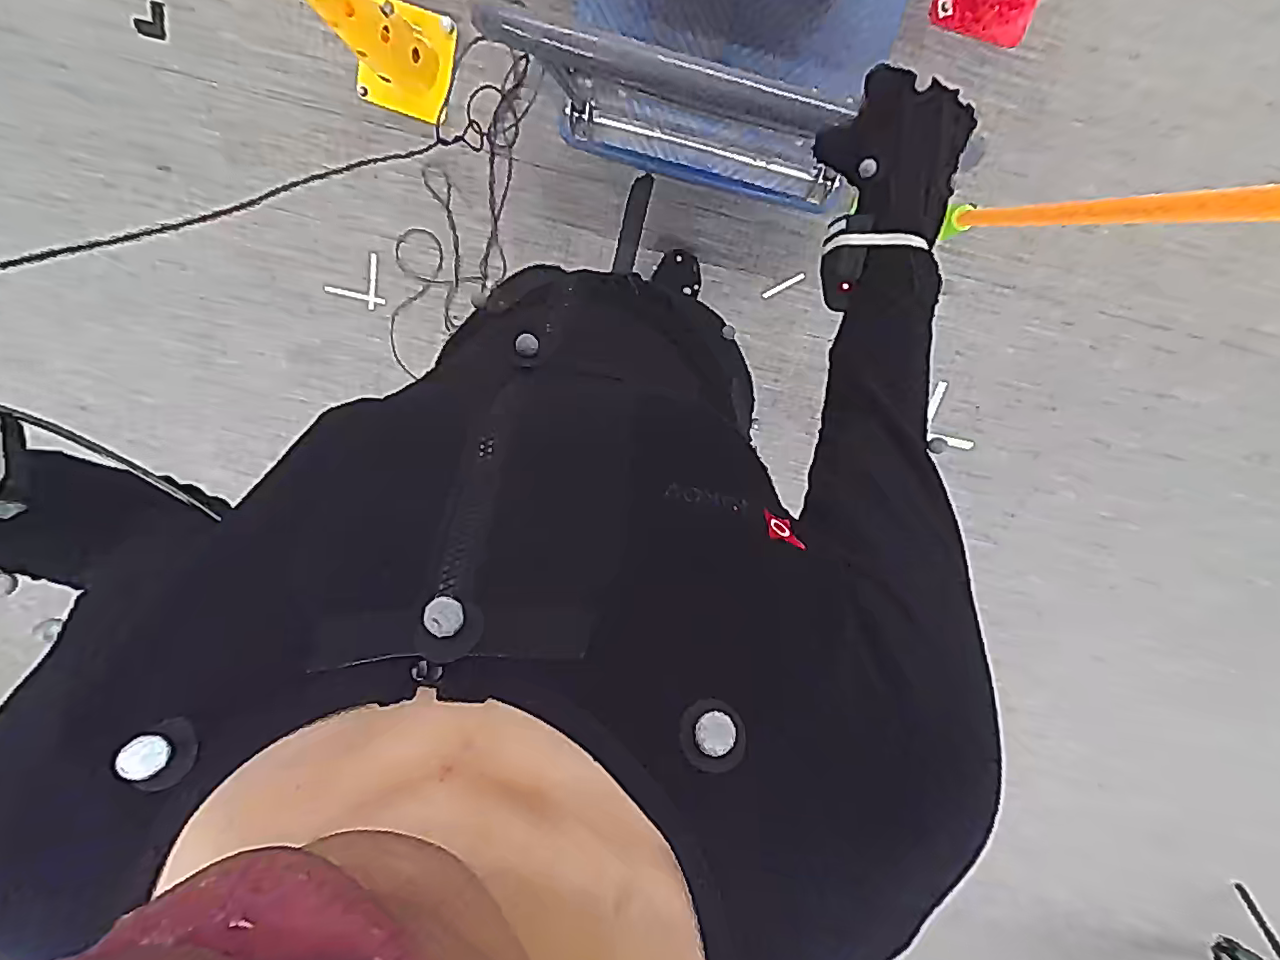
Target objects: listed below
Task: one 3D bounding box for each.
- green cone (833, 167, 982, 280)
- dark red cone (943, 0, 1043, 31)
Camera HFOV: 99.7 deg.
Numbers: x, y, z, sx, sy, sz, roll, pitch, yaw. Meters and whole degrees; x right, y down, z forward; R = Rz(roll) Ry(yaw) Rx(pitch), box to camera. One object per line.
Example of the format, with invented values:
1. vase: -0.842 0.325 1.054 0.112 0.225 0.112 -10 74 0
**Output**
1. green cone: 0.562 -0.520 1.084 0.202 0.368 0.200 17 112 -5
2. dark red cone: 0.699 -0.942 0.887 0.201 0.394 0.202 14 112 -4
